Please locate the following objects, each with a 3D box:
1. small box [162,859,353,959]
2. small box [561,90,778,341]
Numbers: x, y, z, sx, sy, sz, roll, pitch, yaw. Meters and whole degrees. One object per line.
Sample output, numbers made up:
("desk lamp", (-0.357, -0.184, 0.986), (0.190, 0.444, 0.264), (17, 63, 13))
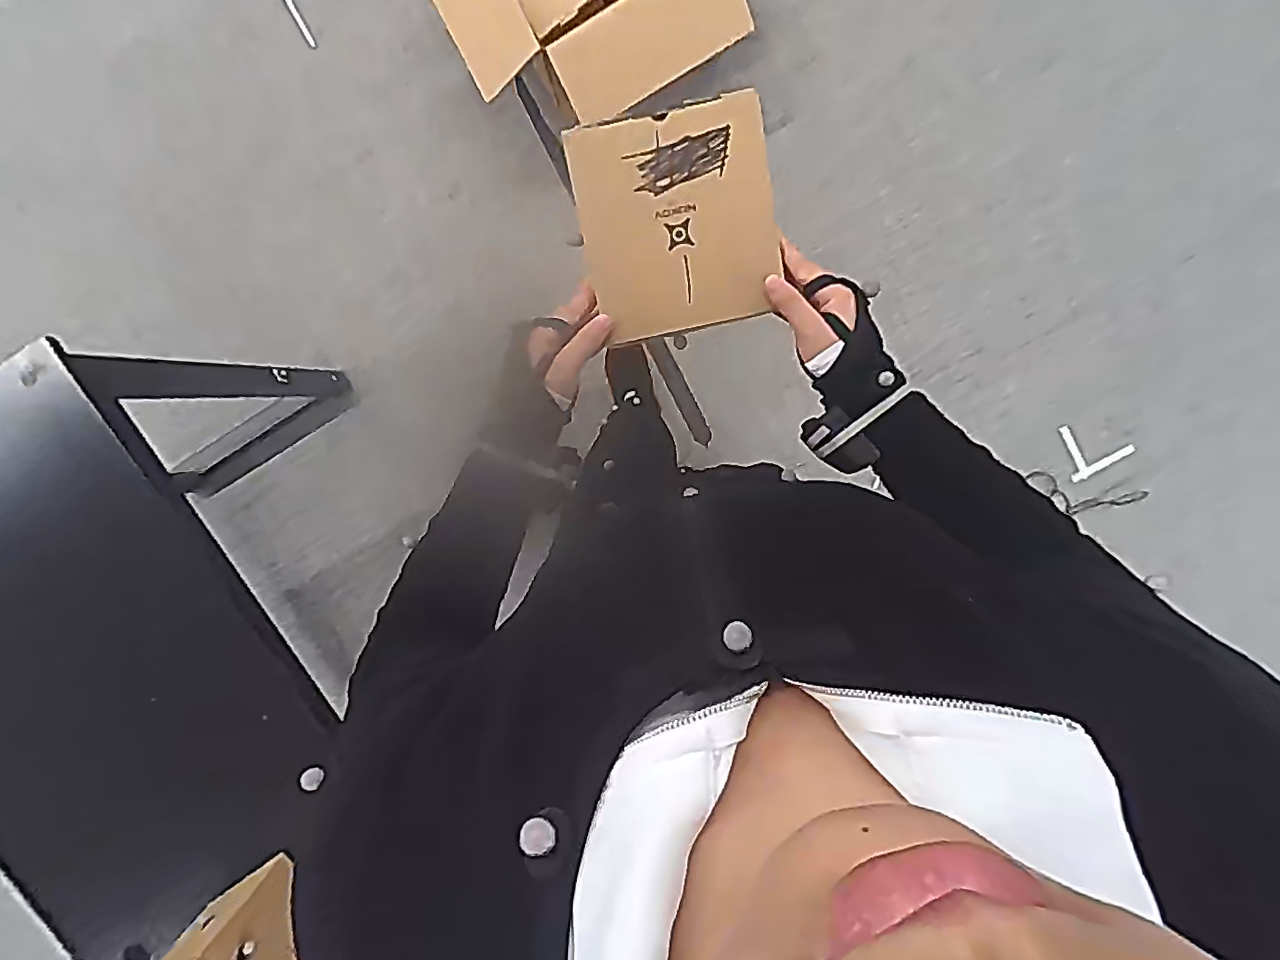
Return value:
("small box", (-0.578, 0.708, 0.799), (0.168, 0.176, 0.179), (-36, 97, 7))
("small box", (0.026, -0.242, 0.542), (0.168, 0.176, 0.179), (-12, 104, 2))
